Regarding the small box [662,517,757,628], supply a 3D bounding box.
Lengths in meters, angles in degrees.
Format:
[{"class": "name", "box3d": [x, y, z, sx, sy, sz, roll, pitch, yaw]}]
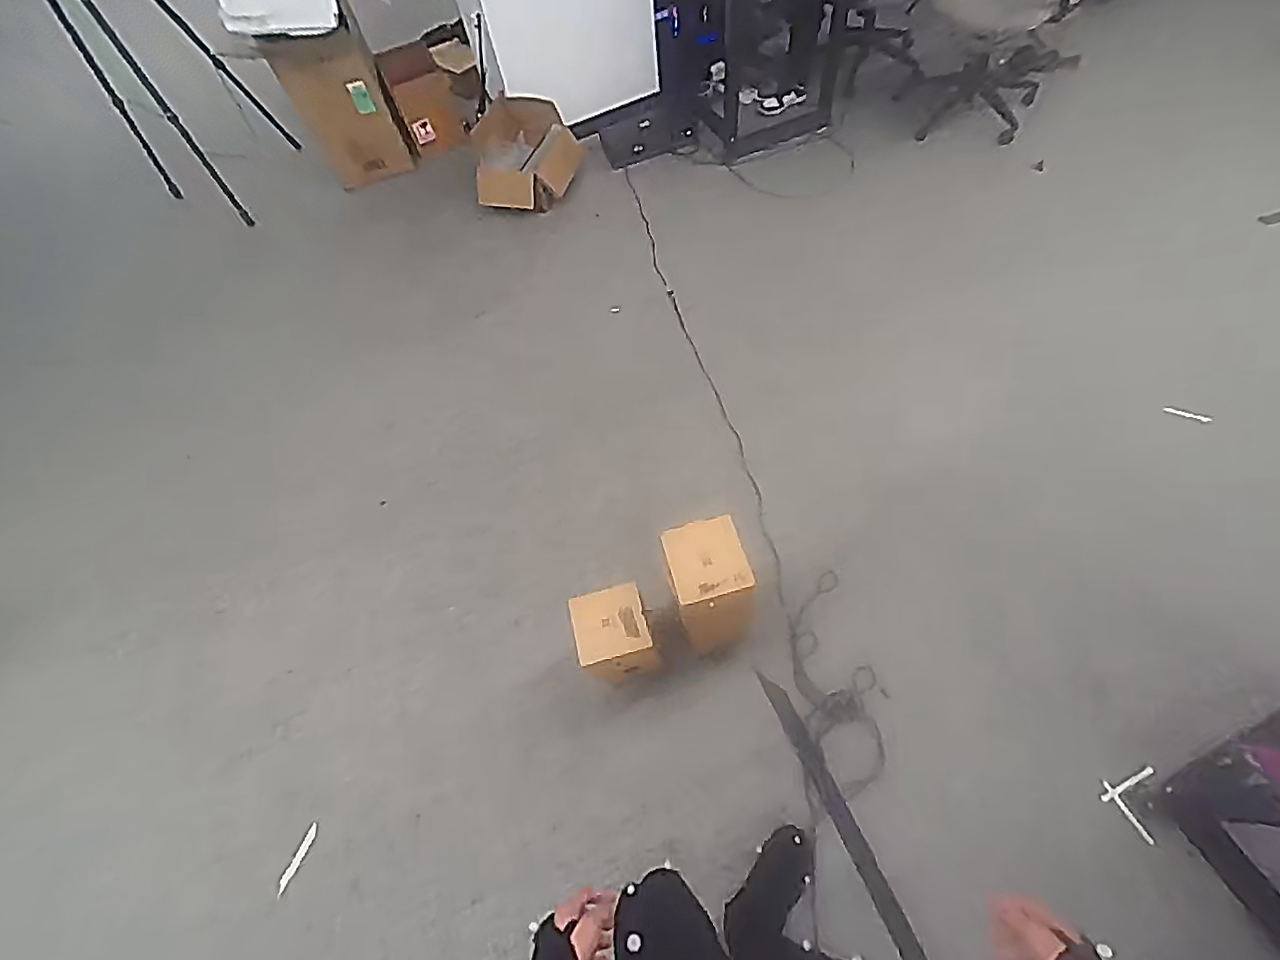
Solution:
[{"class": "small box", "box3d": [0.154, 0.213, 1.227, 0.168, 0.176, 0.179, -16, 58, -1]}]

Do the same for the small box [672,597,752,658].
[{"class": "small box", "box3d": [0.195, 0.371, 1.509, 0.168, 0.176, 0.179, -23, 60, -5]}]

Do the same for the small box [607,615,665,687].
[{"class": "small box", "box3d": [-0.038, 0.449, 1.494, 0.168, 0.176, 0.179, -20, 60, -3]}]

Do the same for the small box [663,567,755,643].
[{"class": "small box", "box3d": [0.176, 0.292, 1.370, 0.179, 0.176, 0.168, -22, 60, -5]}]

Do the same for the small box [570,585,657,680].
[{"class": "small box", "box3d": [-0.059, 0.382, 1.345, 0.179, 0.176, 0.168, -16, 59, -1]}]
